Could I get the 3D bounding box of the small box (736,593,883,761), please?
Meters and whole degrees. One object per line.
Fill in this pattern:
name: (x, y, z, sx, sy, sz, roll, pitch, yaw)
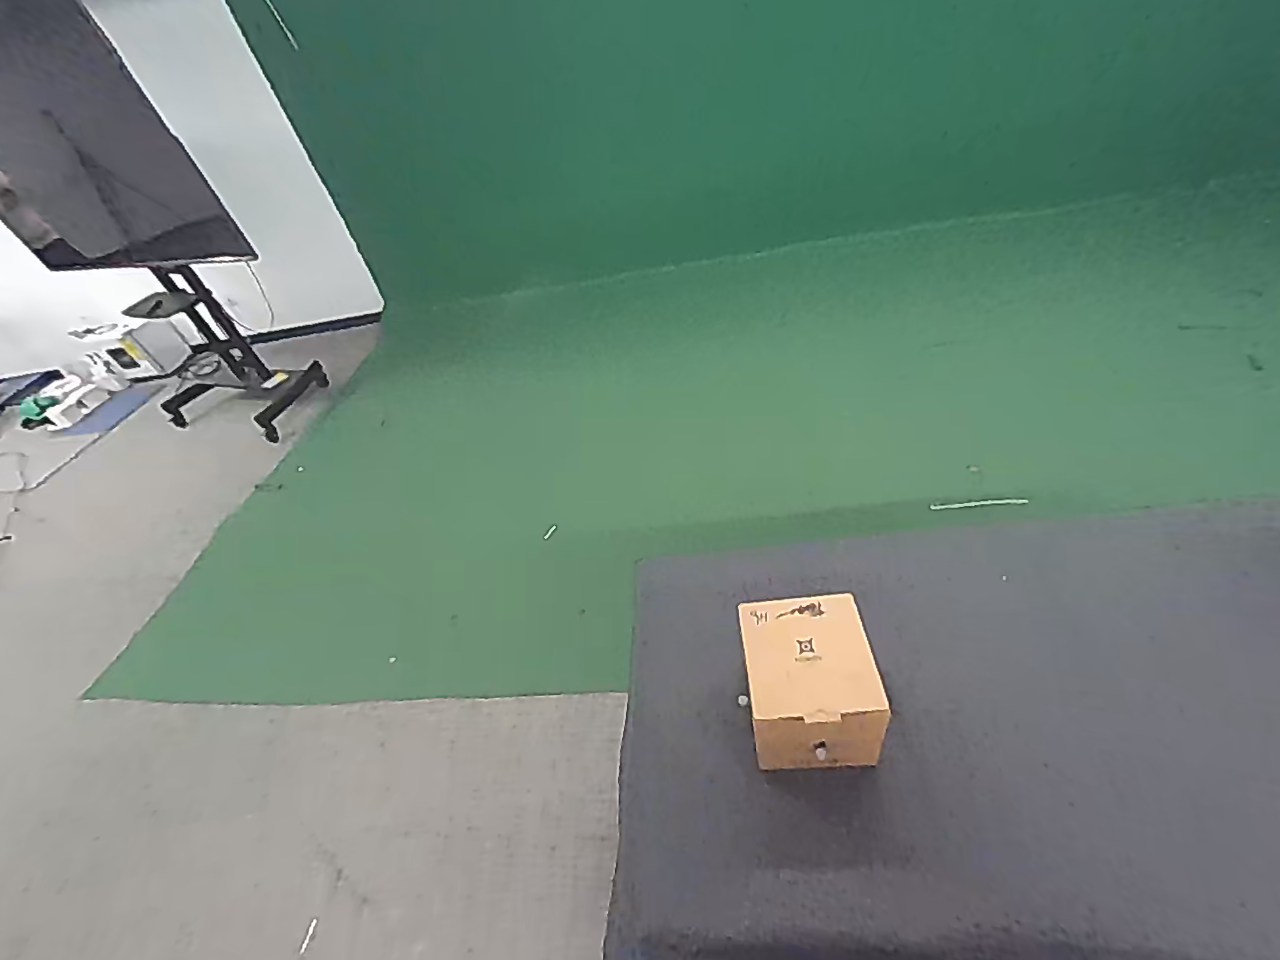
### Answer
small box: (0.235, 0.288, 0.778, 0.168, 0.176, 0.179, -7, 42, 8)
